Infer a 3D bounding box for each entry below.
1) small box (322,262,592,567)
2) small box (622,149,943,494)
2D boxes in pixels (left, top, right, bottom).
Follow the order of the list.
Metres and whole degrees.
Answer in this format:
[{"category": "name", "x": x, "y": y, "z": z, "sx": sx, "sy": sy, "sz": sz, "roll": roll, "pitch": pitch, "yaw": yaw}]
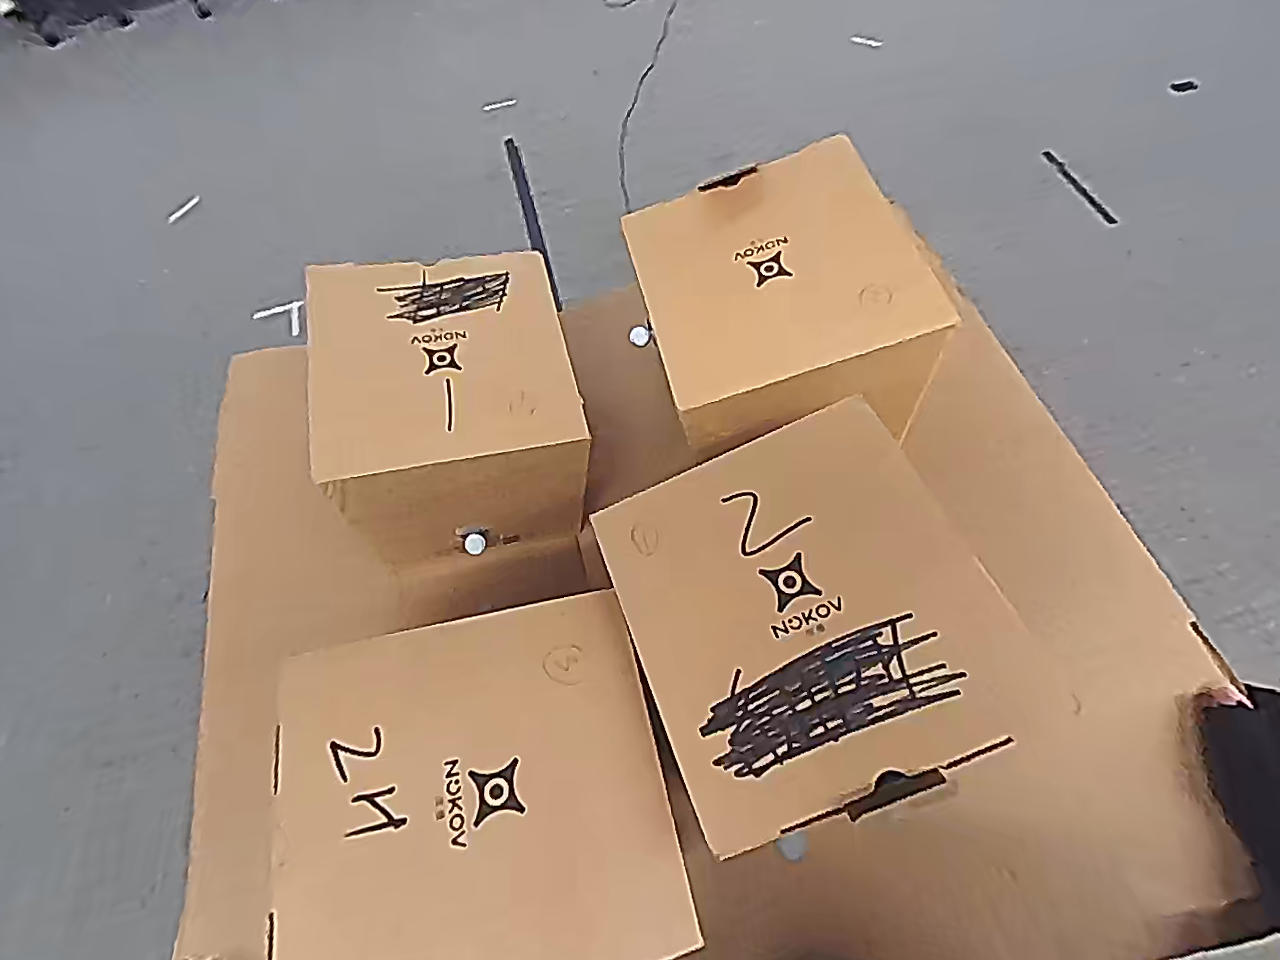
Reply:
[{"category": "small box", "x": -0.140, "y": -0.048, "z": 0.443, "sx": 0.168, "sy": 0.176, "sz": 0.179, "roll": -10, "pitch": 65, "yaw": -13}, {"category": "small box", "x": 0.100, "y": -0.104, "z": 0.424, "sx": 0.168, "sy": 0.176, "sz": 0.179, "roll": -17, "pitch": 63, "yaw": 7}]
